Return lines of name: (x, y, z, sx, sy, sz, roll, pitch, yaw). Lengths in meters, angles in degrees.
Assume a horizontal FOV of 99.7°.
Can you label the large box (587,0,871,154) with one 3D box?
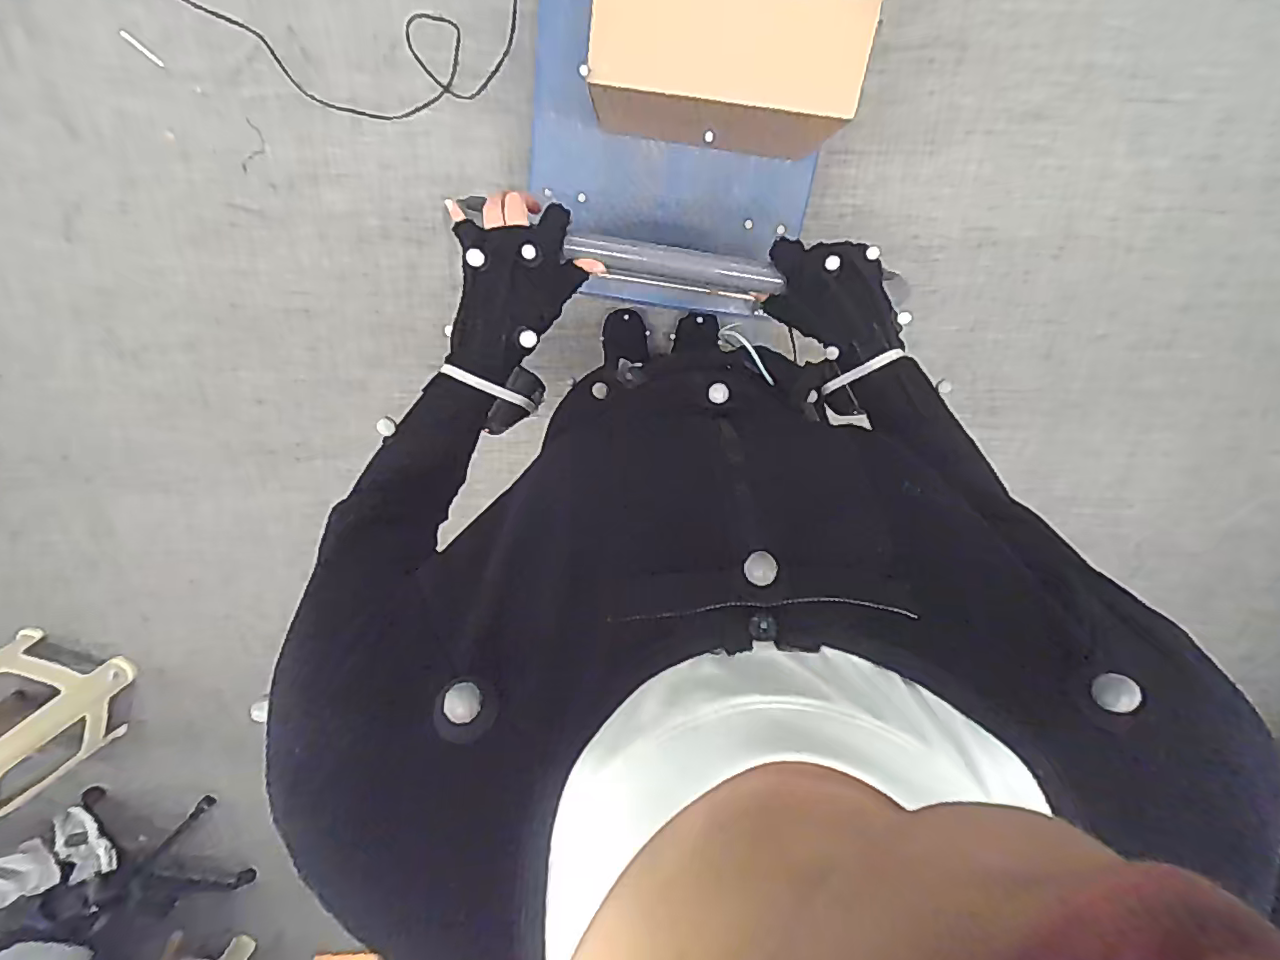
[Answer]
large box: (0.140, -0.764, 0.901, 0.408, 0.320, 0.320, 7, 110, 0)
